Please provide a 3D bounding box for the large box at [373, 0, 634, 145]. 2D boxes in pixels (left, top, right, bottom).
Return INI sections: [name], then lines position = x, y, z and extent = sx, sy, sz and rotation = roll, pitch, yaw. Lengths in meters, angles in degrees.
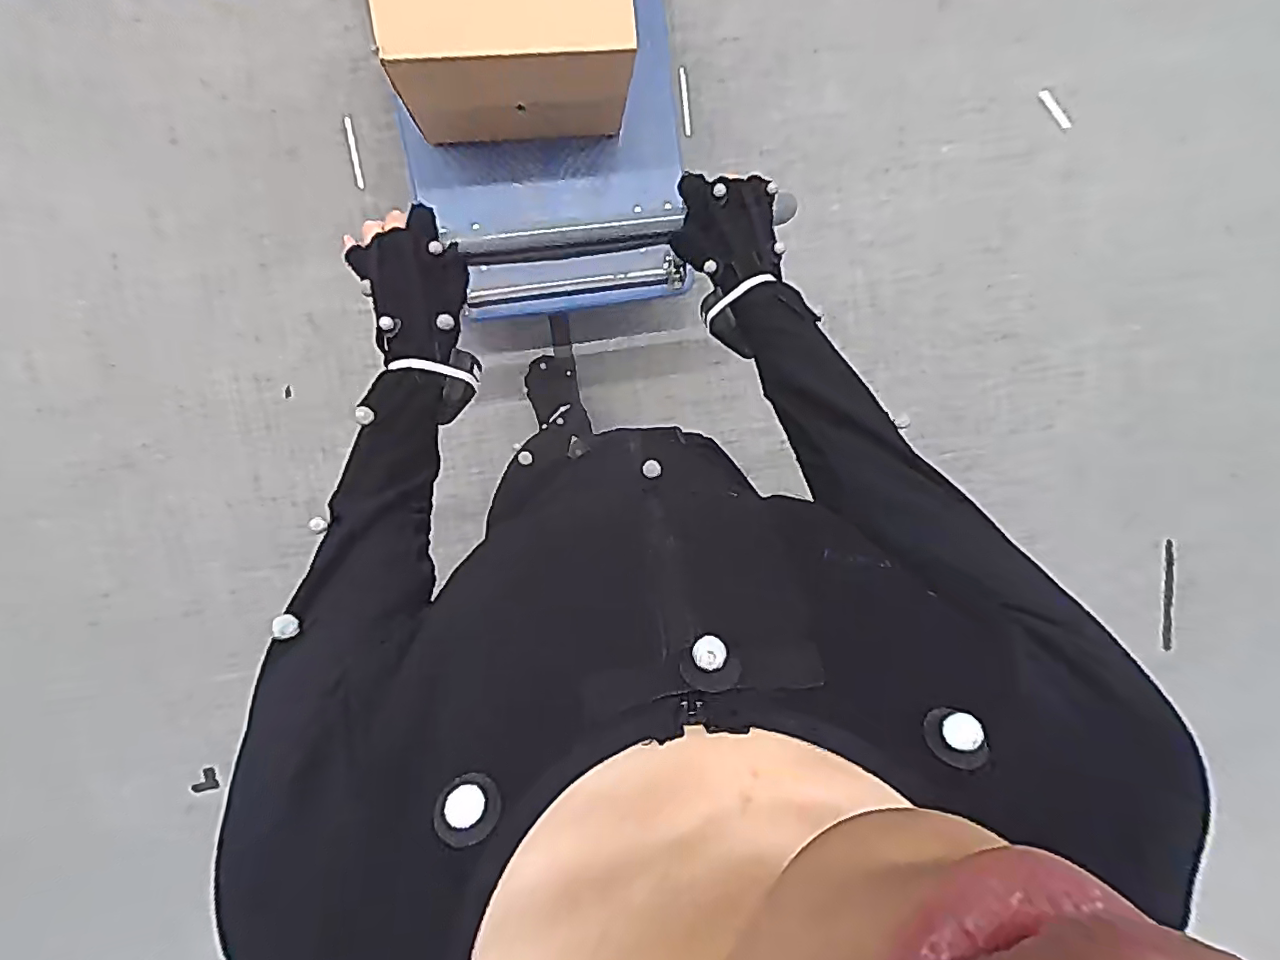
[large box]
position = -0.238, -0.846, 0.981
extent = 0.408, 0.320, 0.320
rotation = -7, 101, -6
